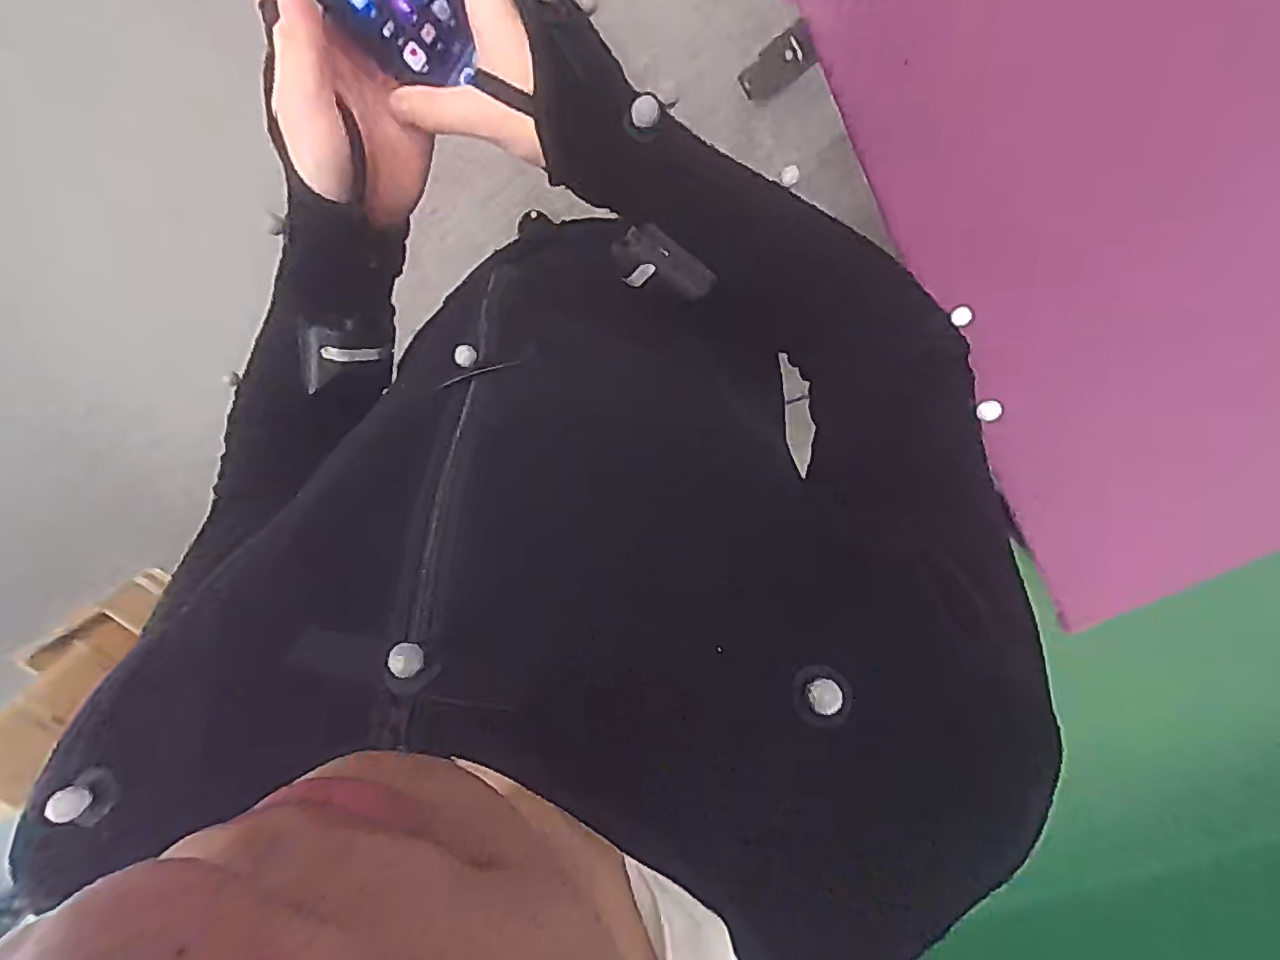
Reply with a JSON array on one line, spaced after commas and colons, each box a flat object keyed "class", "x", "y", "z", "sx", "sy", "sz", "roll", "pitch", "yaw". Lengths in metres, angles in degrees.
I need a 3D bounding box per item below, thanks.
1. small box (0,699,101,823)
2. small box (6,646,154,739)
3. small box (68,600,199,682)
[{"class": "small box", "x": -1.412, "y": 0.637, "z": 1.235, "sx": 0.179, "sy": 0.176, "sz": 0.168, "roll": -28, "pitch": 116, "yaw": 16}, {"class": "small box", "x": -1.404, "y": 0.552, "z": 1.375, "sx": 0.179, "sy": 0.176, "sz": 0.168, "roll": -25, "pitch": 116, "yaw": 15}, {"class": "small box", "x": -1.408, "y": 0.470, "z": 1.518, "sx": 0.179, "sy": 0.176, "sz": 0.168, "roll": -27, "pitch": 116, "yaw": 15}]
